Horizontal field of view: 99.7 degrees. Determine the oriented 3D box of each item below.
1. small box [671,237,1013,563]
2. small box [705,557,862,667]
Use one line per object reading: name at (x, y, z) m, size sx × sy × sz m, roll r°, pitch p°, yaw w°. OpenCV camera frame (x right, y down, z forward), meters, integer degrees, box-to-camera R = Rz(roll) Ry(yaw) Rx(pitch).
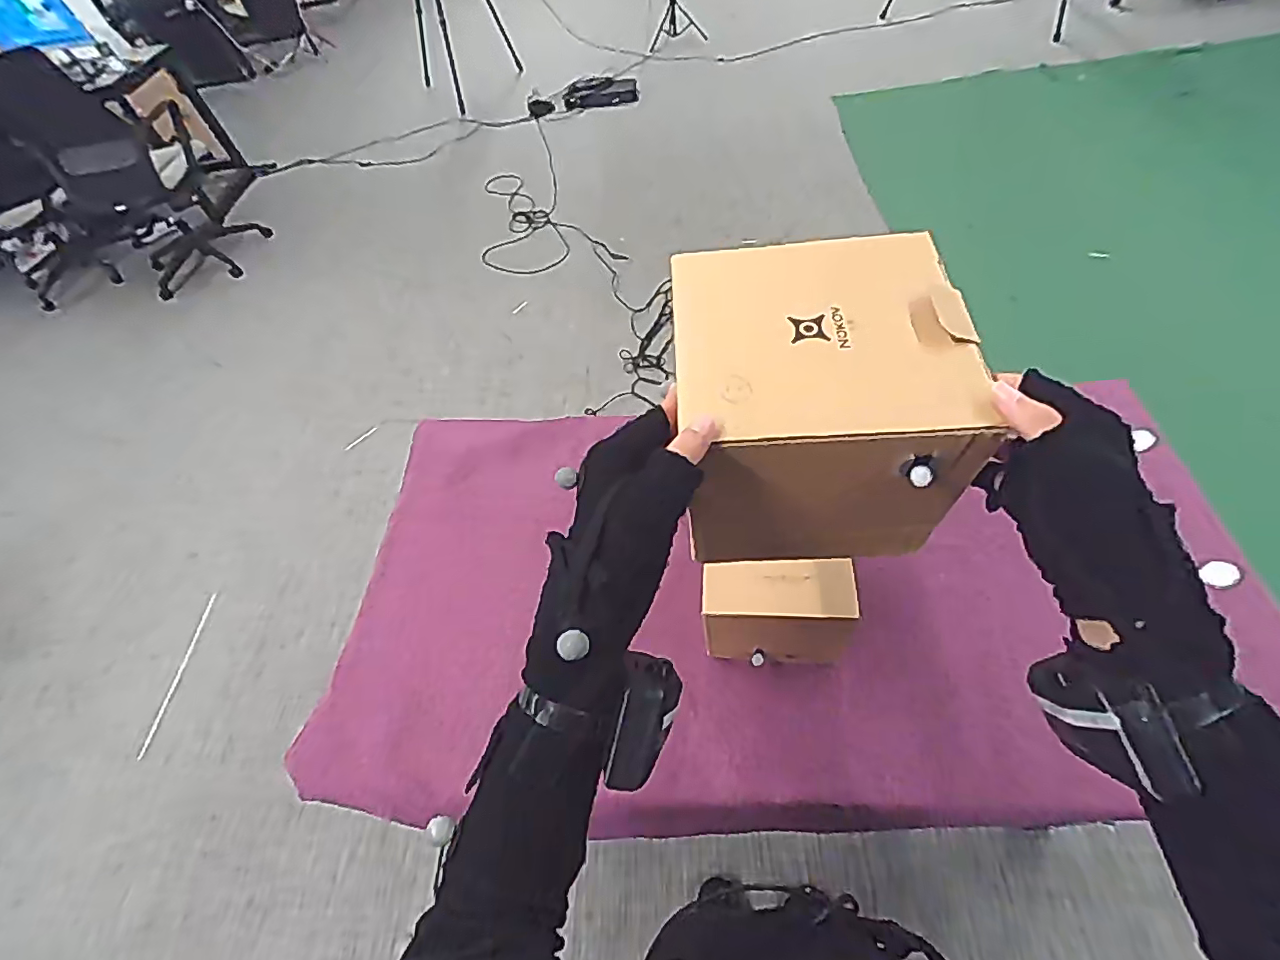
small box at (0.116, -0.047, 0.394) m, size 0.179 × 0.176 × 0.168 m, roll -3°, pitch 58°, yaw 5°
small box at (0.169, 0.121, 0.683) m, size 0.168 × 0.176 × 0.179 m, roll -1°, pitch 56°, yaw 10°
